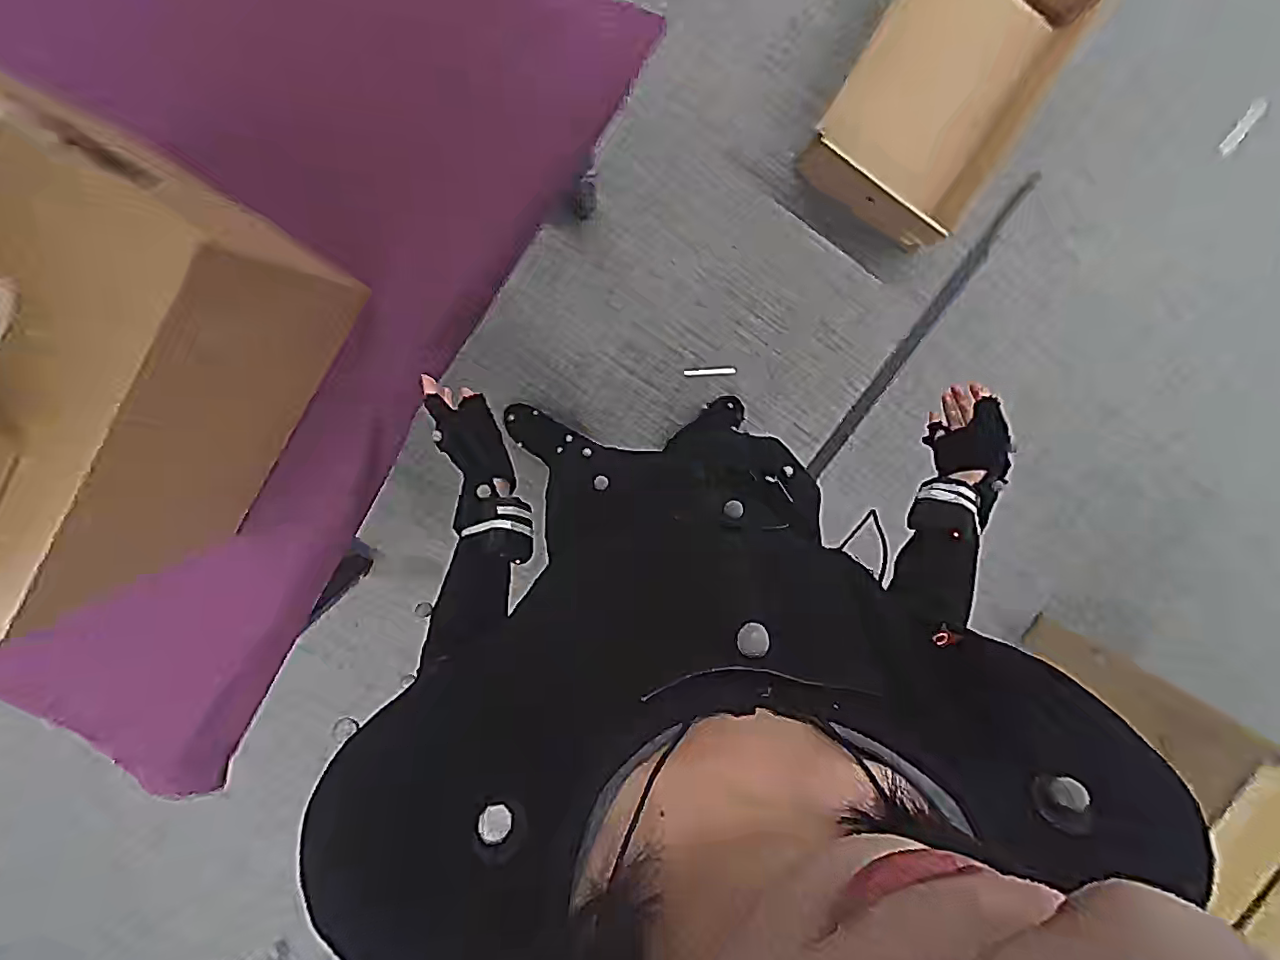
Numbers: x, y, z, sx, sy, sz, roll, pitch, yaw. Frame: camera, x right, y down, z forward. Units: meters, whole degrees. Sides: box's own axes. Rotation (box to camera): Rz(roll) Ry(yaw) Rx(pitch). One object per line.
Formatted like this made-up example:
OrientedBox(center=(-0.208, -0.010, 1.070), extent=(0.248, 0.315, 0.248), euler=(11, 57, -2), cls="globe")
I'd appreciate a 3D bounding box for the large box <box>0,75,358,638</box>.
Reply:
OrientedBox(center=(-0.576, -0.133, 0.551), extent=(0.320, 0.320, 0.408), euler=(31, 97, -11), cls="large box")
